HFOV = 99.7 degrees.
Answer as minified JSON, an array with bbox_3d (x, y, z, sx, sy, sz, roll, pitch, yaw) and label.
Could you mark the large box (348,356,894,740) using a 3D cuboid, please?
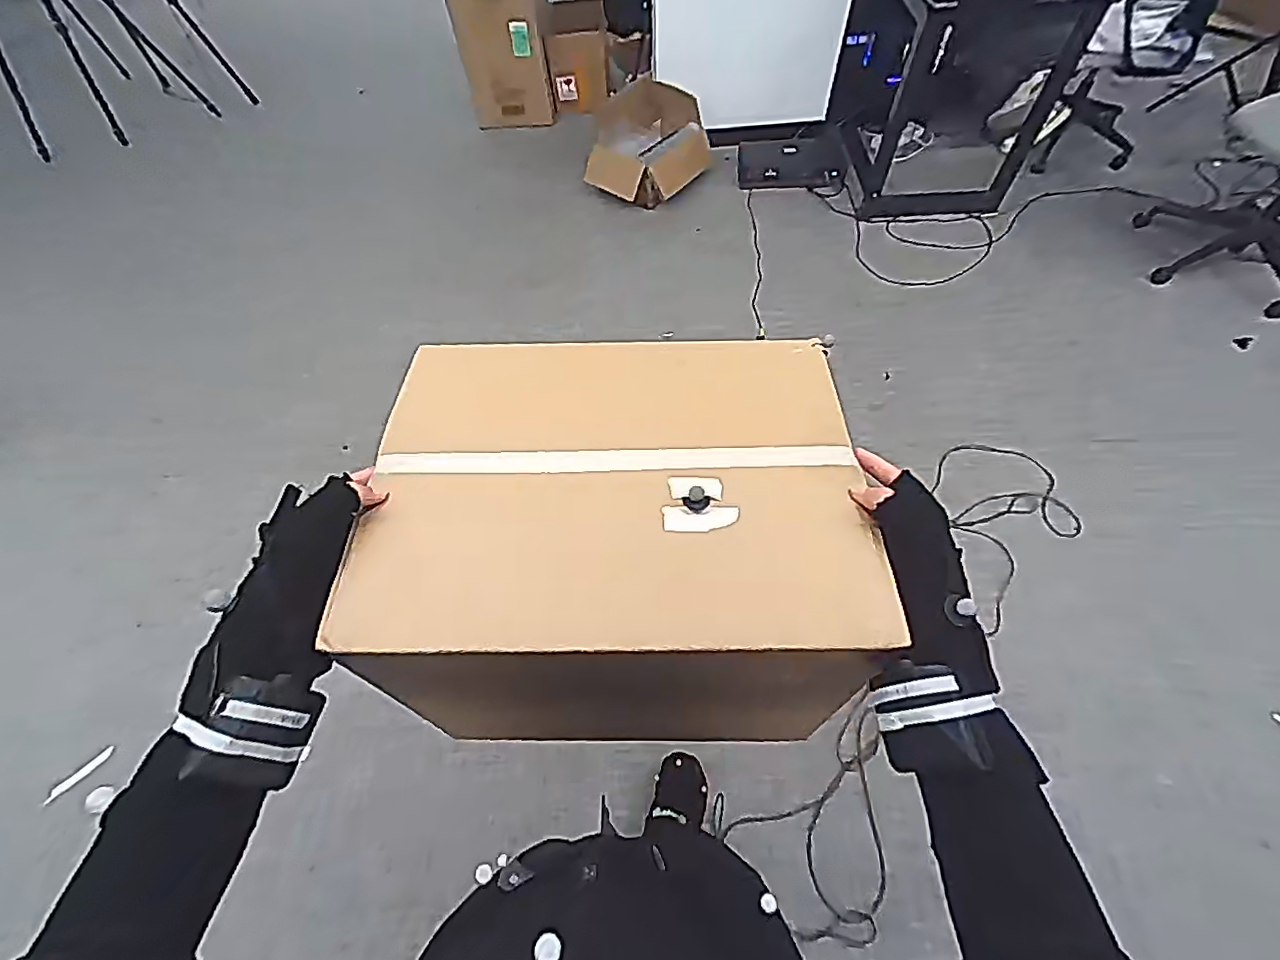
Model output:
[{"bbox_3d":[-0.015,0.084,0.594,0.408,0.320,0.320,0,54,1],"label":"large box"}]
